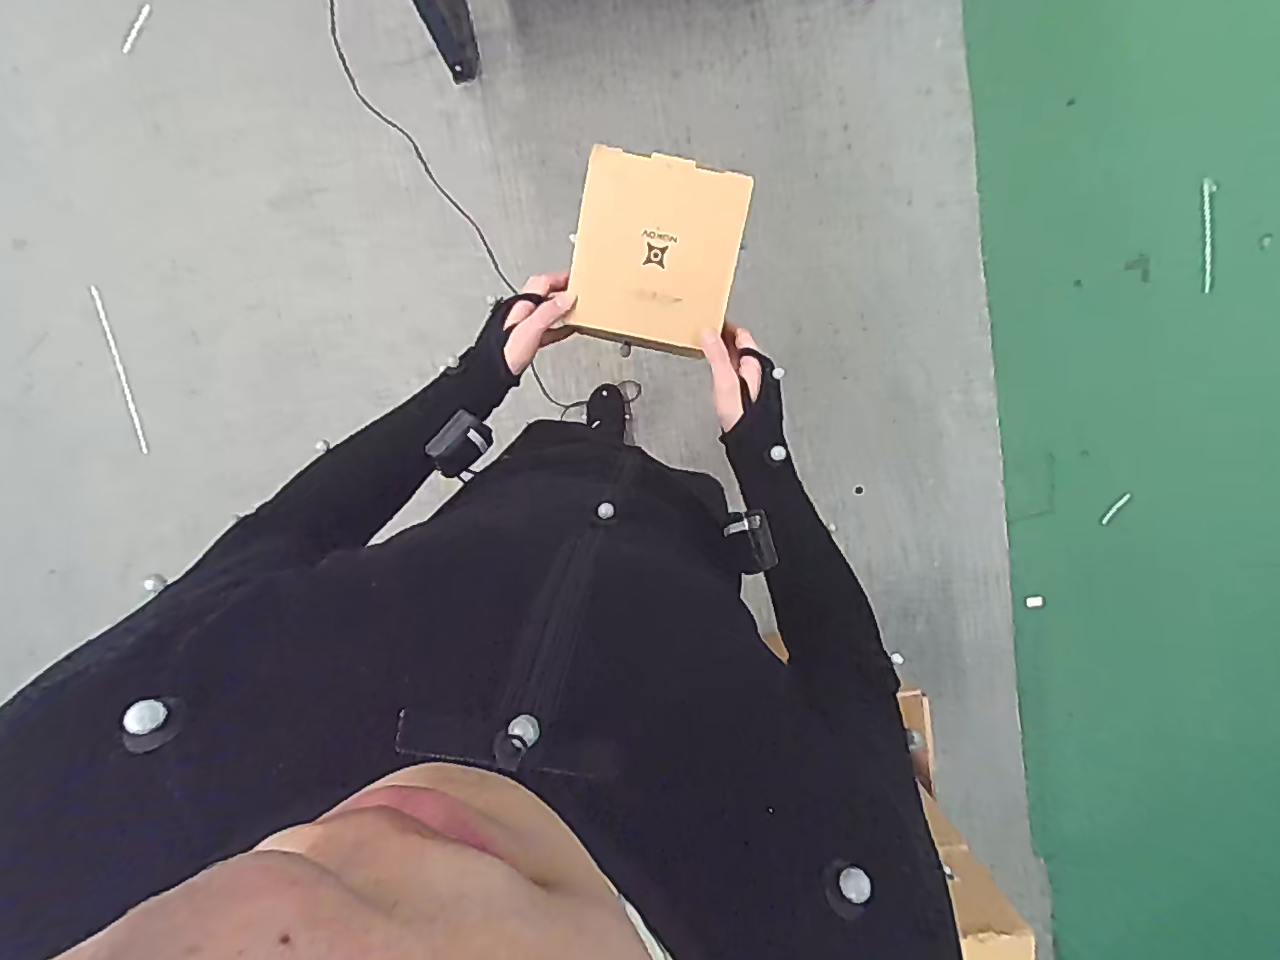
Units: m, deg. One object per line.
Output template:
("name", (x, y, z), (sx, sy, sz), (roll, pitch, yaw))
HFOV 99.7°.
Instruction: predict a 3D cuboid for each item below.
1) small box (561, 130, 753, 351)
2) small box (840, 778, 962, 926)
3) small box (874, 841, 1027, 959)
("small box", (0.014, -0.254, 0.619), (0.168, 0.176, 0.179), (12, 101, -2))
("small box", (0.515, 0.737, 1.083), (0.168, 0.176, 0.179), (-6, 98, -2))
("small box", (0.517, 0.762, 0.922), (0.168, 0.176, 0.179), (-5, 97, -2))
